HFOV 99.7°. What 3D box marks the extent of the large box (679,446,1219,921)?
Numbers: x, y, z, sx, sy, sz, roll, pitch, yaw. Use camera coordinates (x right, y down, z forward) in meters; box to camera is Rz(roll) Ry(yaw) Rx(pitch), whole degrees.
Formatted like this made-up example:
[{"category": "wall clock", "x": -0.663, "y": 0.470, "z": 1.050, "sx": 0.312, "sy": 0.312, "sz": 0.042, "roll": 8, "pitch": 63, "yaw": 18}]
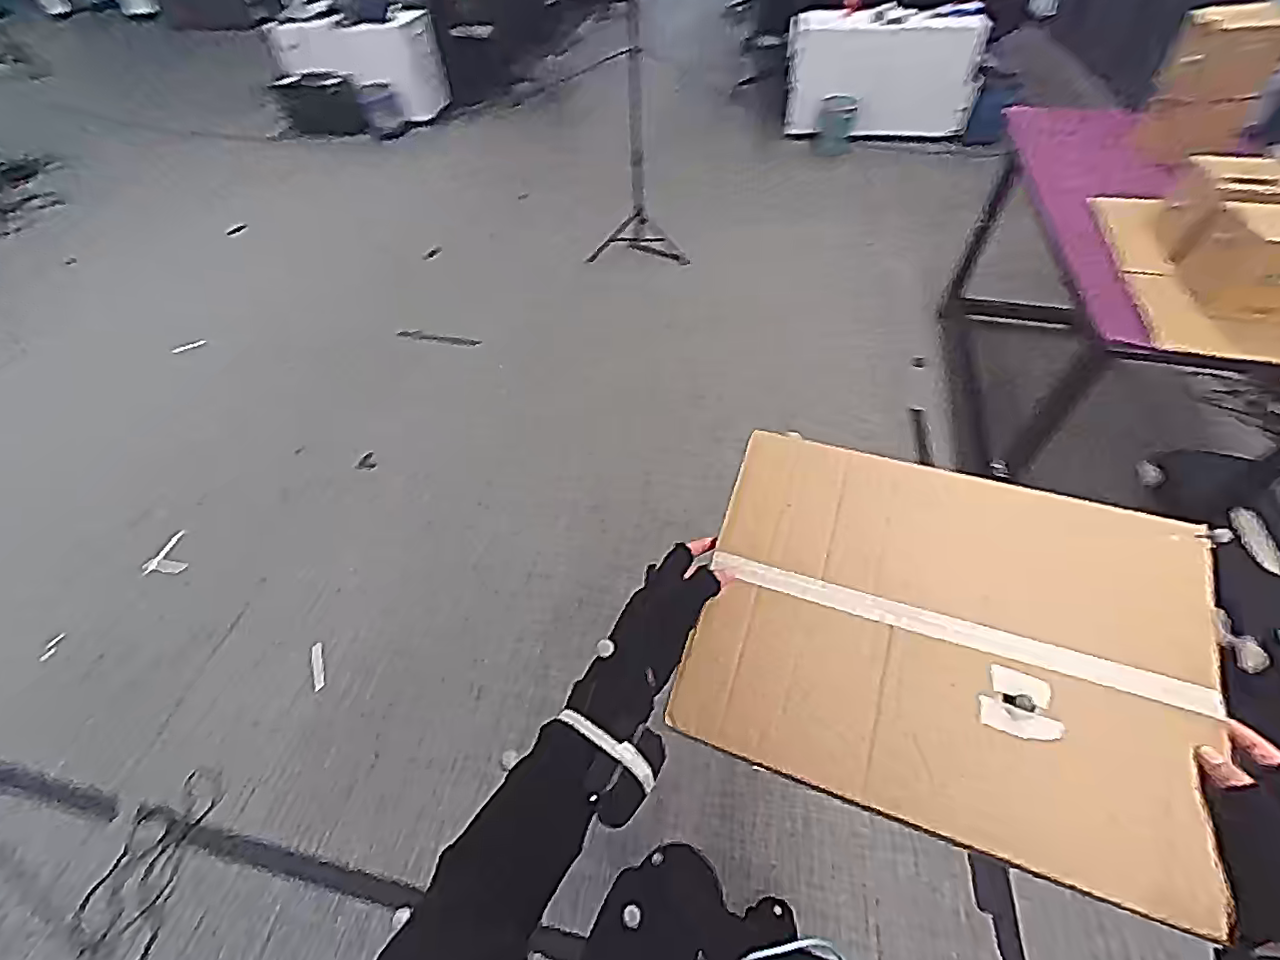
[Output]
[{"category": "large box", "x": 0.286, "y": 0.202, "z": 0.617, "sx": 0.408, "sy": 0.320, "sz": 0.320, "roll": 14, "pitch": 67, "yaw": 16}]
